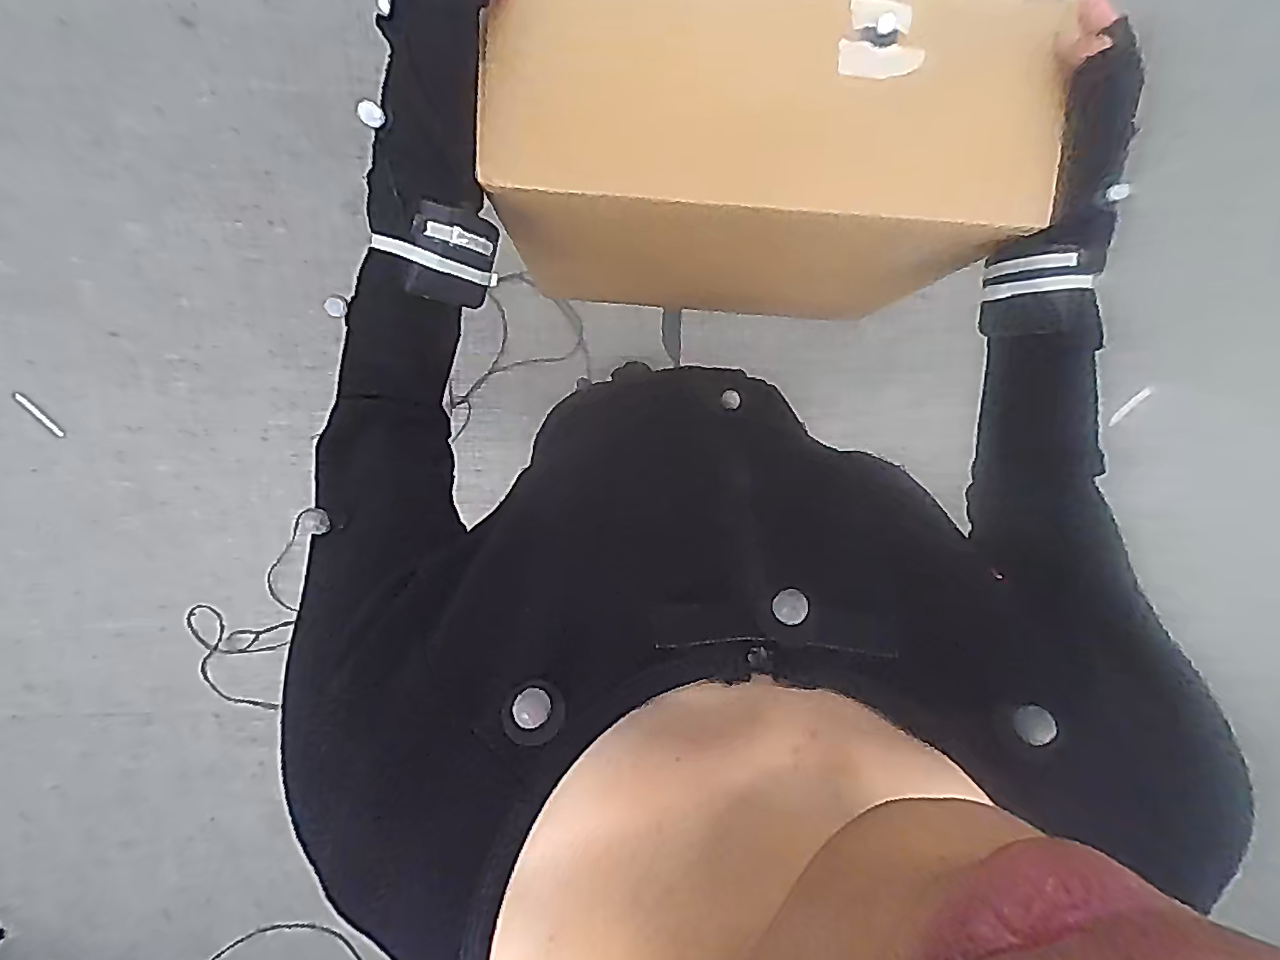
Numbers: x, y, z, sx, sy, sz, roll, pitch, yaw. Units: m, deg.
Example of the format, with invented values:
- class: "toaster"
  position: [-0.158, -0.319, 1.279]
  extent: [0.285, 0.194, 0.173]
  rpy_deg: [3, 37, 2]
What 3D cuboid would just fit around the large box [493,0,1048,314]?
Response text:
- class: "large box"
  position: [0.090, -0.362, 0.532]
  extent: [0.408, 0.320, 0.320]
  rpy_deg: [3, 94, -3]
